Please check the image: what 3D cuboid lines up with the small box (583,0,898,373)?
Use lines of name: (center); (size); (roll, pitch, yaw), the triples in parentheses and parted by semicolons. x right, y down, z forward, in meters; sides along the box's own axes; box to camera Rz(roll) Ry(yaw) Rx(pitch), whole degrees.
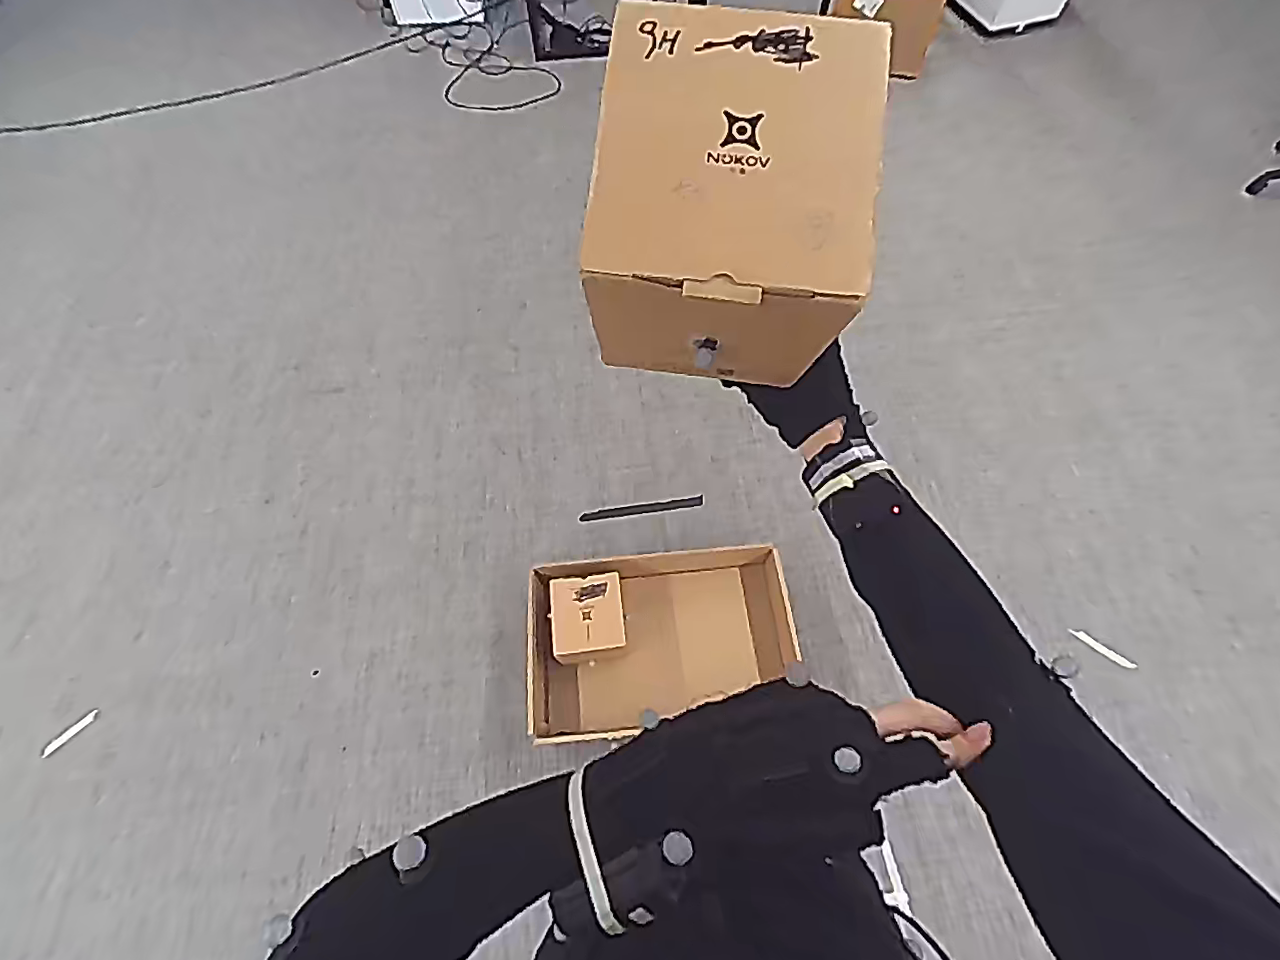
small box: (0.061, -0.188, 0.391); (0.168, 0.176, 0.179); (7, 84, 2)
